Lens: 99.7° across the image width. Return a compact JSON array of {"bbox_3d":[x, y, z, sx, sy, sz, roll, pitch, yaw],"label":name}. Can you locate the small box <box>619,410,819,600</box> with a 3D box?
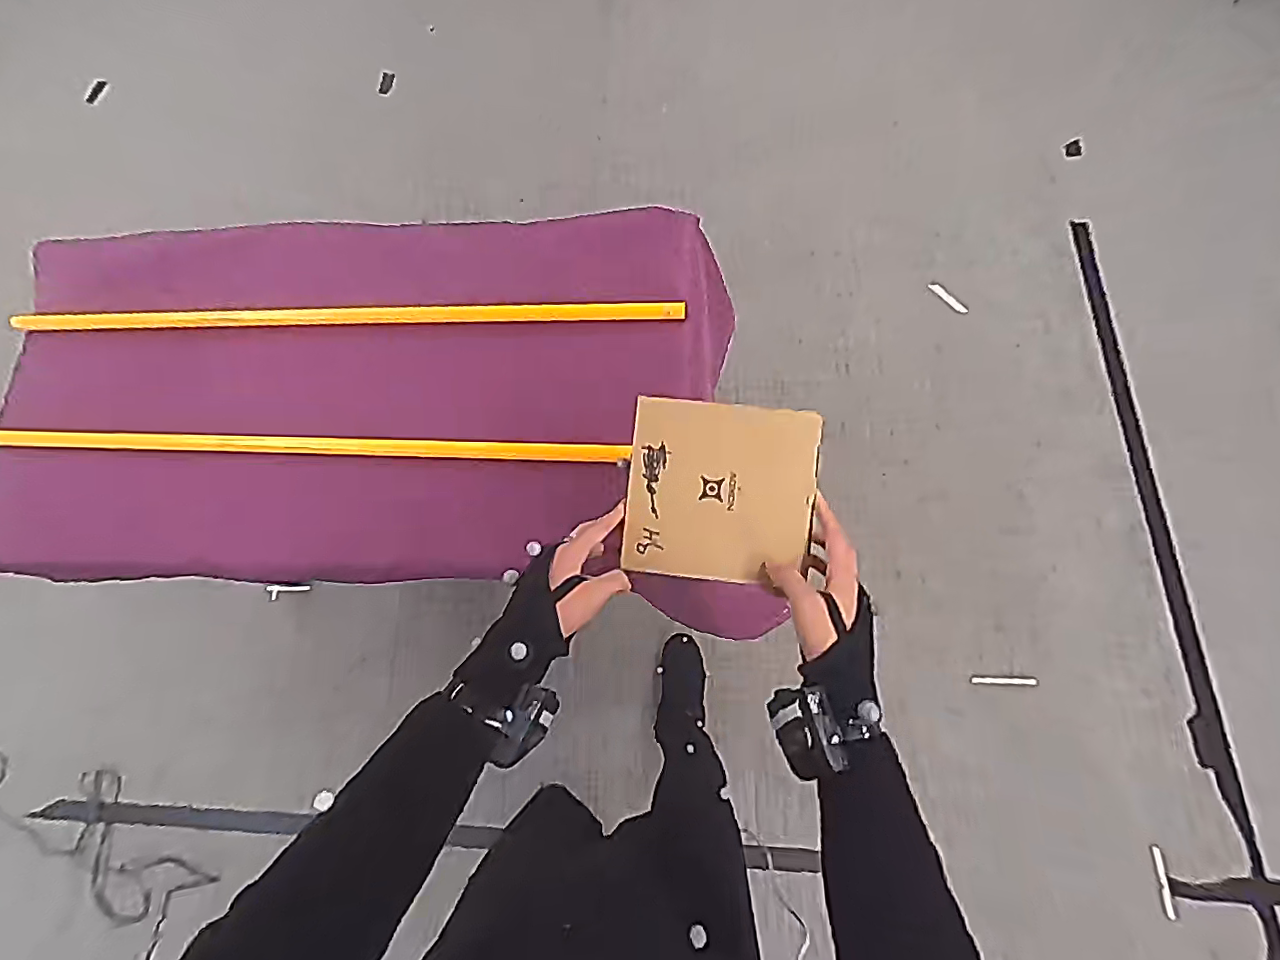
[{"bbox_3d":[0.078,0.025,0.591,0.179,0.176,0.168,6,87,3],"label":"small box"}]
